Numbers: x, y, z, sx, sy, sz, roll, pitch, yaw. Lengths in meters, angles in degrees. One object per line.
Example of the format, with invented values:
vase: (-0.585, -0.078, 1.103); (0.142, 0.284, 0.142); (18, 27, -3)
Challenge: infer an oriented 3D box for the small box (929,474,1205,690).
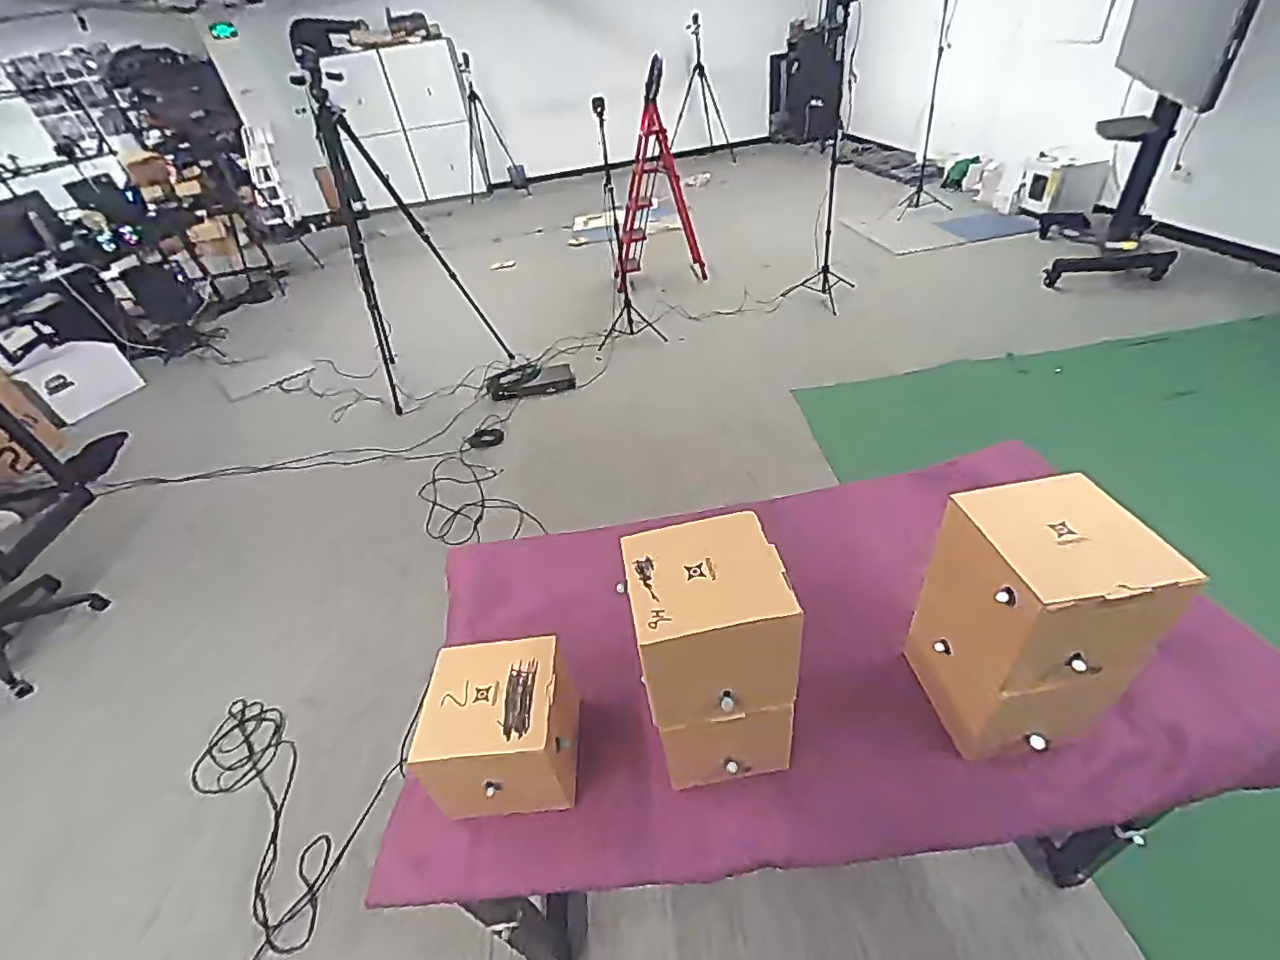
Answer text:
small box: (0.478, 0.120, 0.647); (0.168, 0.176, 0.179); (-10, 39, 0)

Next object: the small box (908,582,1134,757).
small box: (0.498, 0.248, 0.744); (0.168, 0.176, 0.179); (-10, 39, 0)

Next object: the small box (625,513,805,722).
small box: (0.084, 0.168, 0.663); (0.179, 0.176, 0.168); (-10, 37, -2)

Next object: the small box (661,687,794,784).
small box: (0.106, 0.294, 0.765); (0.168, 0.176, 0.179); (-11, 38, -1)
